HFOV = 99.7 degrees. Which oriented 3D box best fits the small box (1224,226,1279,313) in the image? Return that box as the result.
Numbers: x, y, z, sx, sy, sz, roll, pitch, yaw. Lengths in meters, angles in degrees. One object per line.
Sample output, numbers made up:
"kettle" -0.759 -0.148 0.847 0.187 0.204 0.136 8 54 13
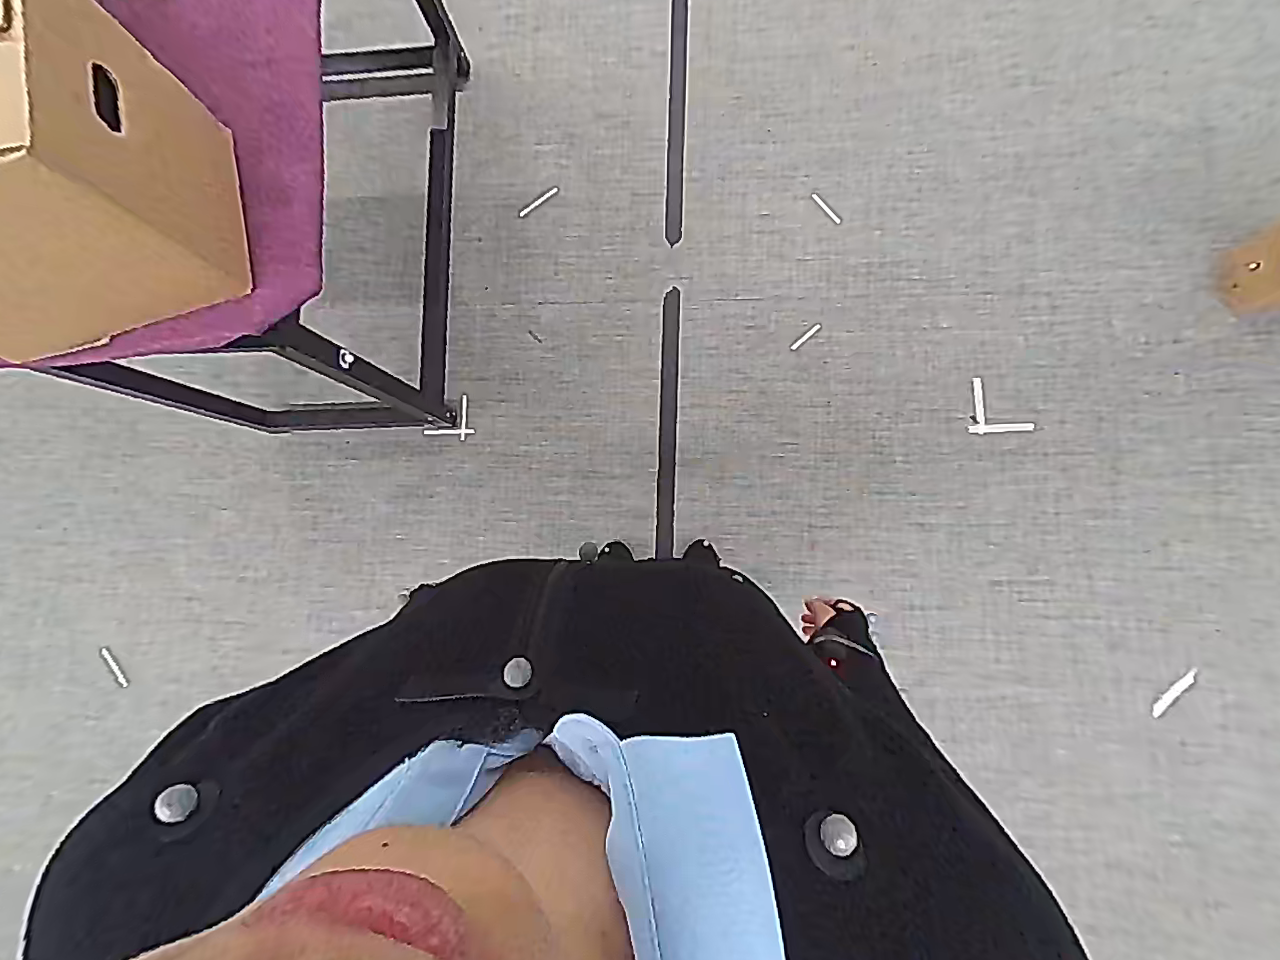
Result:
"small box" 1.686 -0.547 1.405 0.179 0.176 0.168 -1 84 3
